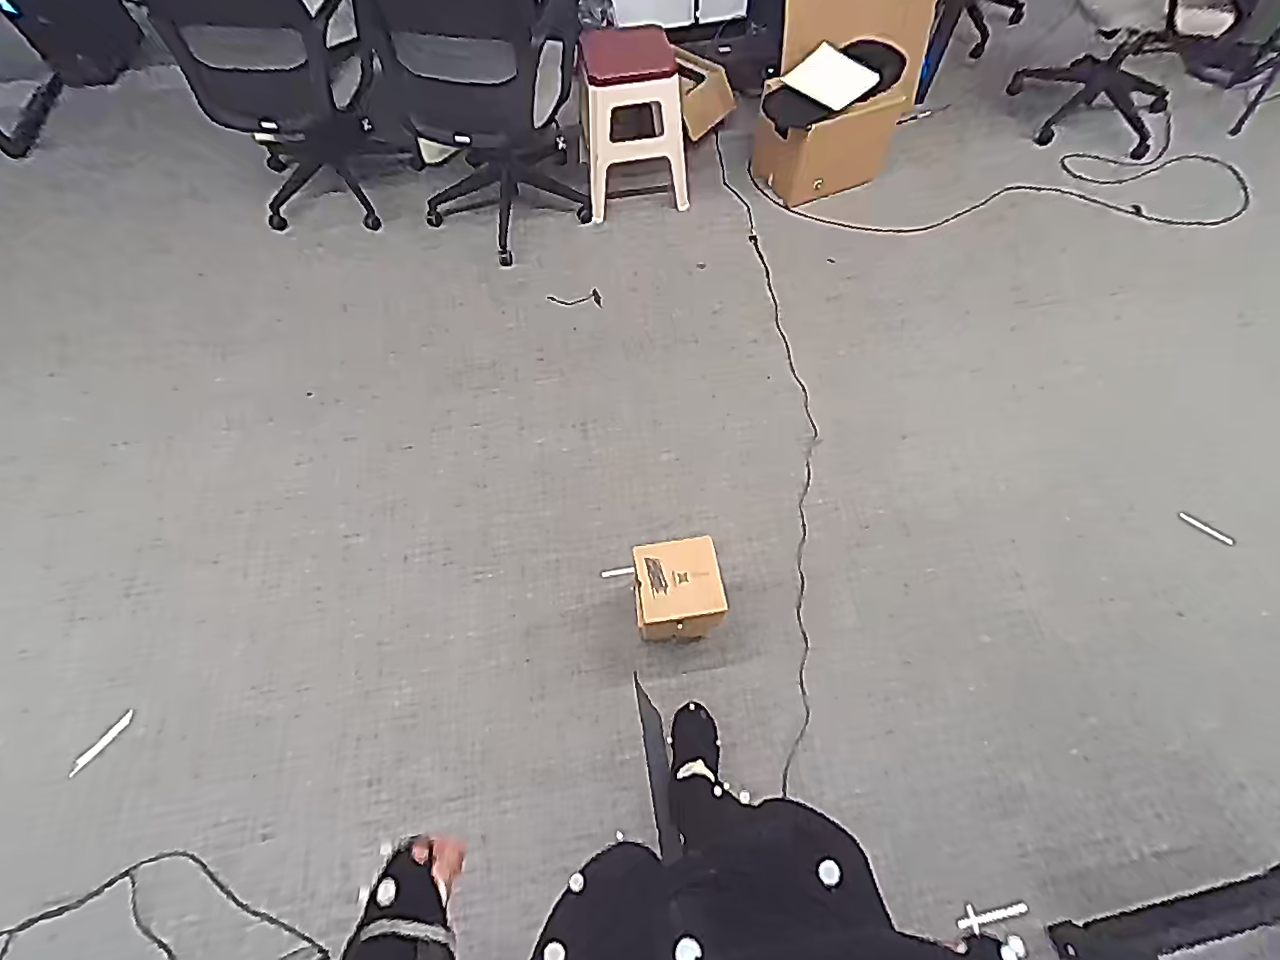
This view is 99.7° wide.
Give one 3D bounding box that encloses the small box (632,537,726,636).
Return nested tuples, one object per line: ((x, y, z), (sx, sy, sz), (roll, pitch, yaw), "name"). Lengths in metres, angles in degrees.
((0.083, 0.243, 1.206), (0.179, 0.176, 0.168), (-8, 64, -3), "small box")

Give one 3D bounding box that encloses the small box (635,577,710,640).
((0.078, 0.303, 1.361), (0.179, 0.176, 0.168), (-3, 64, -1), "small box")
